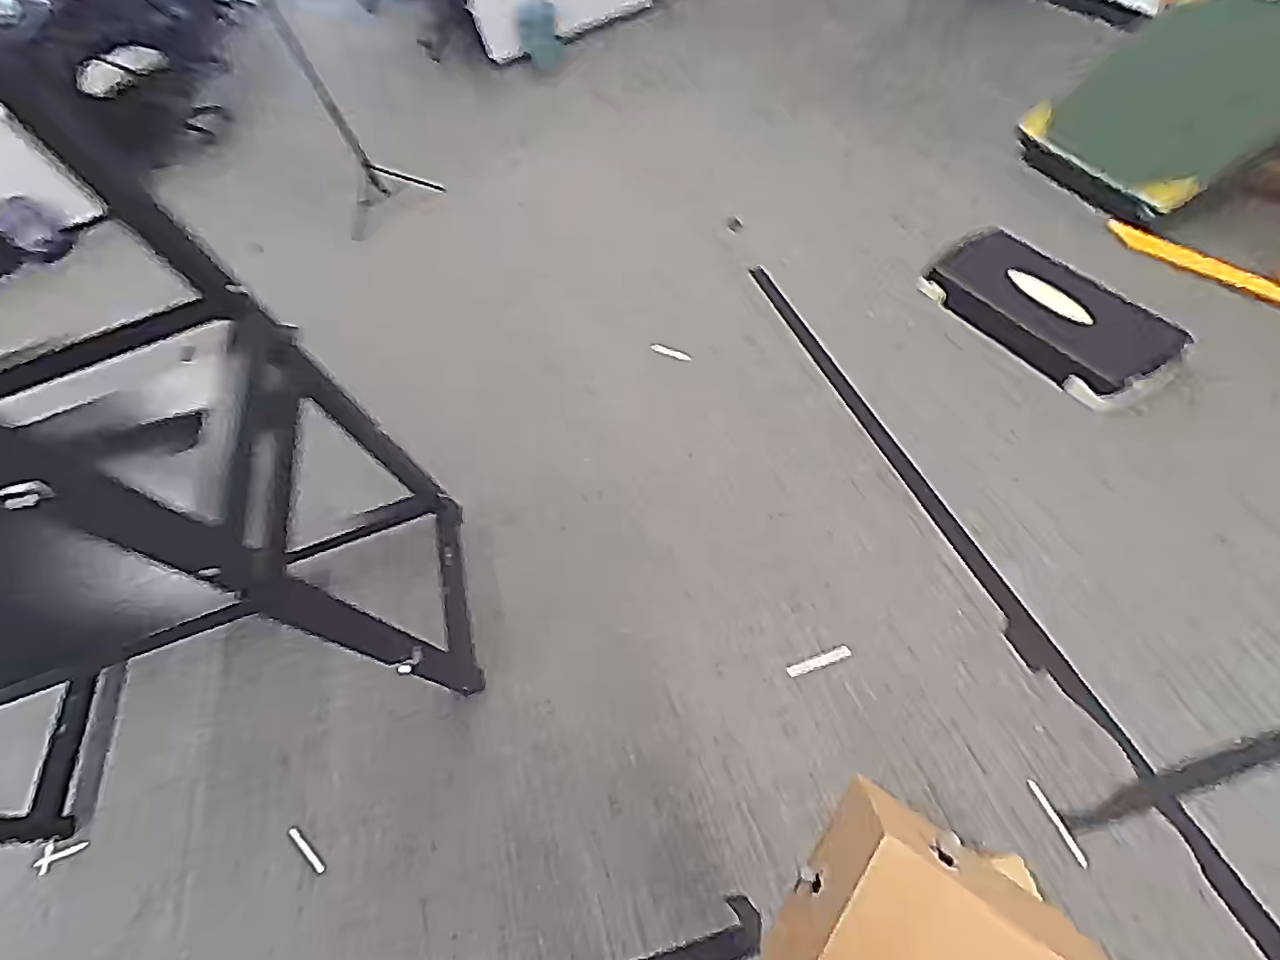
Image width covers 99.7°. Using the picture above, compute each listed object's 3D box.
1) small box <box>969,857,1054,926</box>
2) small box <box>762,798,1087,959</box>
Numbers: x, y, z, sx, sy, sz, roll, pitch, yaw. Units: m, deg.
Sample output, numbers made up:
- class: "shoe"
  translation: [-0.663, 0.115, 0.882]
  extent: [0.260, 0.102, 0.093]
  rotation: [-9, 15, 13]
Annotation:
- class: "small box"
  translation: [0.575, 0.753, 0.897]
  extent: [0.168, 0.176, 0.179]
  rotation: [-16, 57, 3]
- class: "small box"
  translation: [0.193, 0.352, 0.368]
  extent: [0.179, 0.176, 0.168]
  rotation: [30, 84, 20]
